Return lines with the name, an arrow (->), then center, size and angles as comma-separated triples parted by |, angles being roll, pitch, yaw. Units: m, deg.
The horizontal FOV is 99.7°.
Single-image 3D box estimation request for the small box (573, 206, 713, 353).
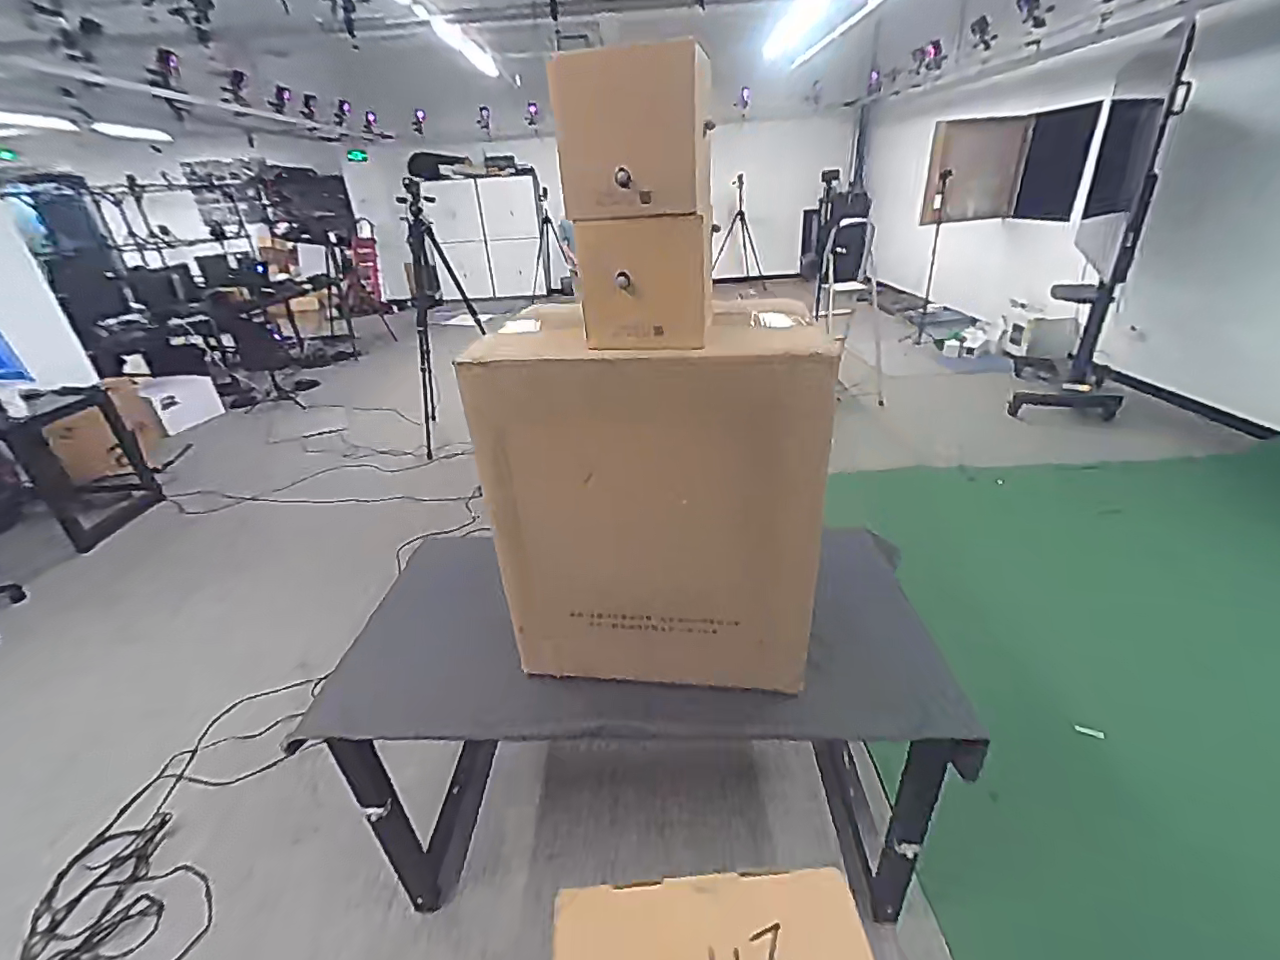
small box -> 0.016, -0.285, 0.770 | 0.168, 0.176, 0.179 | 2, 31, 11
